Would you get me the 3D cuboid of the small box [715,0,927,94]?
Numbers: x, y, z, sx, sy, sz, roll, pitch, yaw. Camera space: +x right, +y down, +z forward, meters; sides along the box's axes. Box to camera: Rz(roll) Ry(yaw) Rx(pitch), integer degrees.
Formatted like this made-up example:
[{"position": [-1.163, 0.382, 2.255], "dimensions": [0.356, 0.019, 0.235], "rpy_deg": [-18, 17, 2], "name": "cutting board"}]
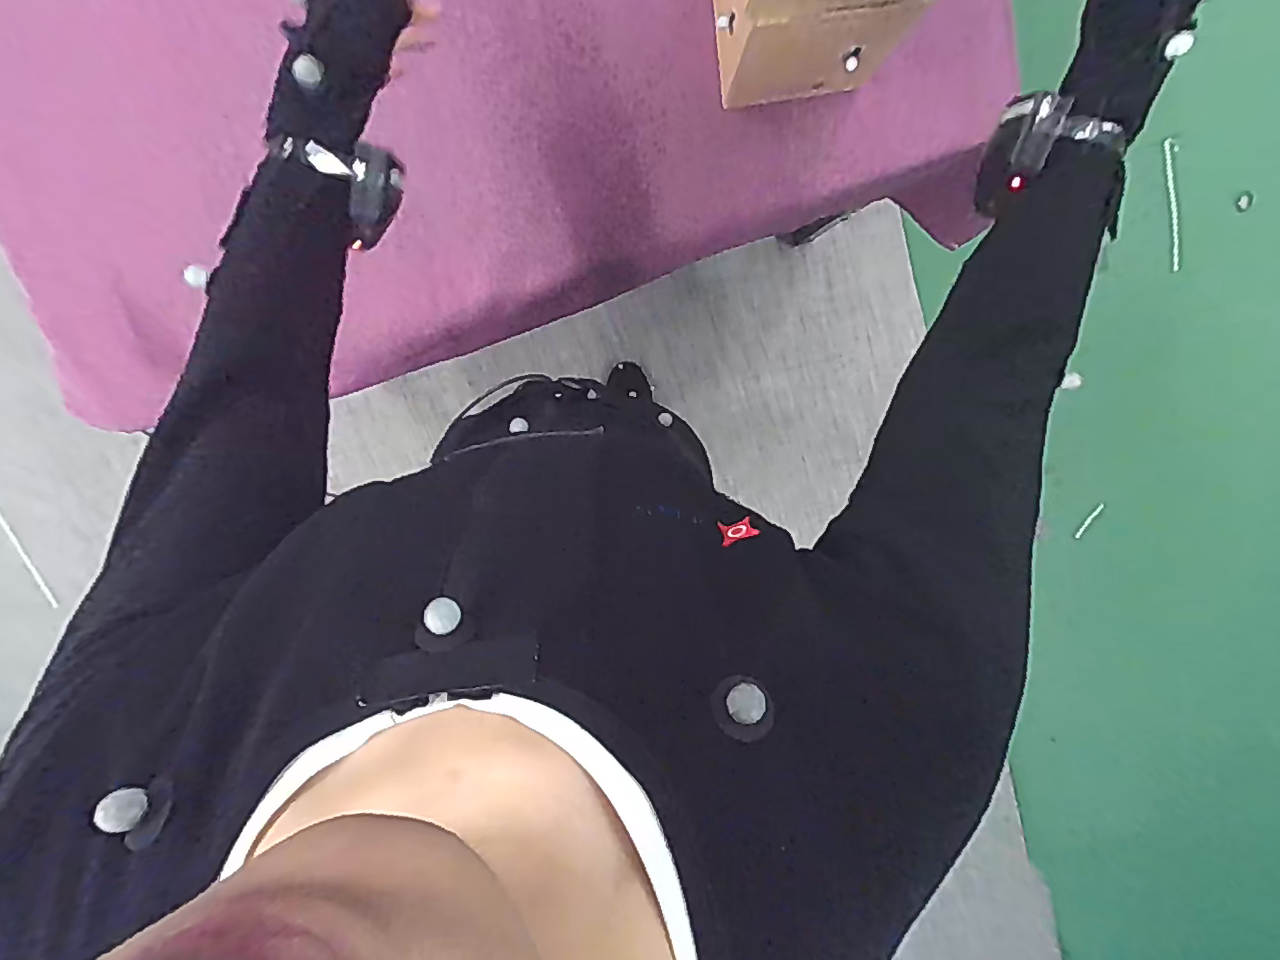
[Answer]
[{"position": [0.169, -0.517, 0.536], "dimensions": [0.168, 0.176, 0.179], "rpy_deg": [-8, 103, 1], "name": "small box"}]
